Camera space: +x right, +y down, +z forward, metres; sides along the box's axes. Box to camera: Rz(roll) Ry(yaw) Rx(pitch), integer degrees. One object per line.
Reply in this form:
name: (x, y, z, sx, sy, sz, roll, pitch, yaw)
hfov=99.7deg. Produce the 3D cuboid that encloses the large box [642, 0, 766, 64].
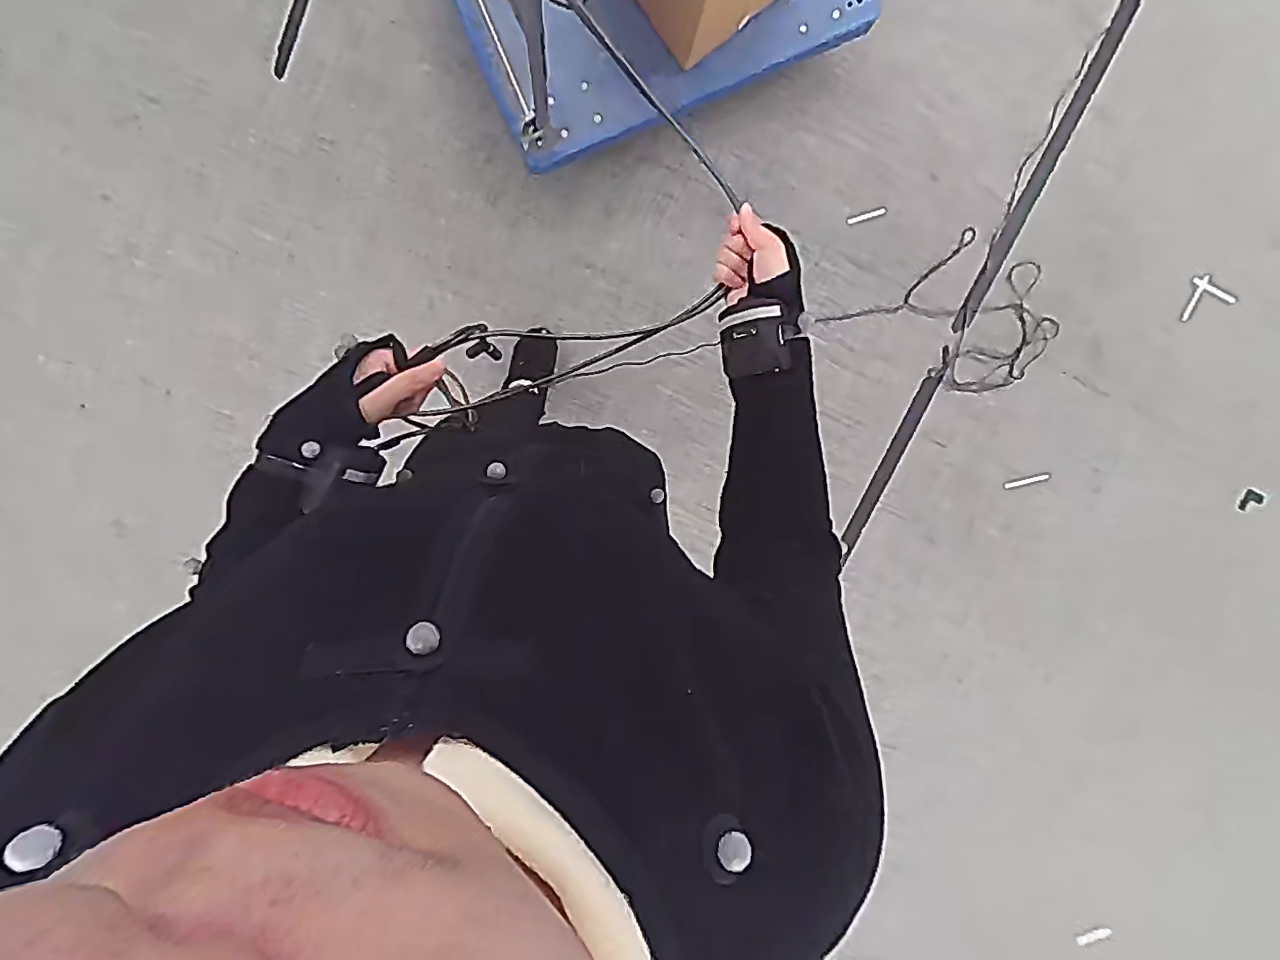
large box: (0.109, -1.120, 0.992, 0.320, 0.320, 0.408, -38, 101, 3)
